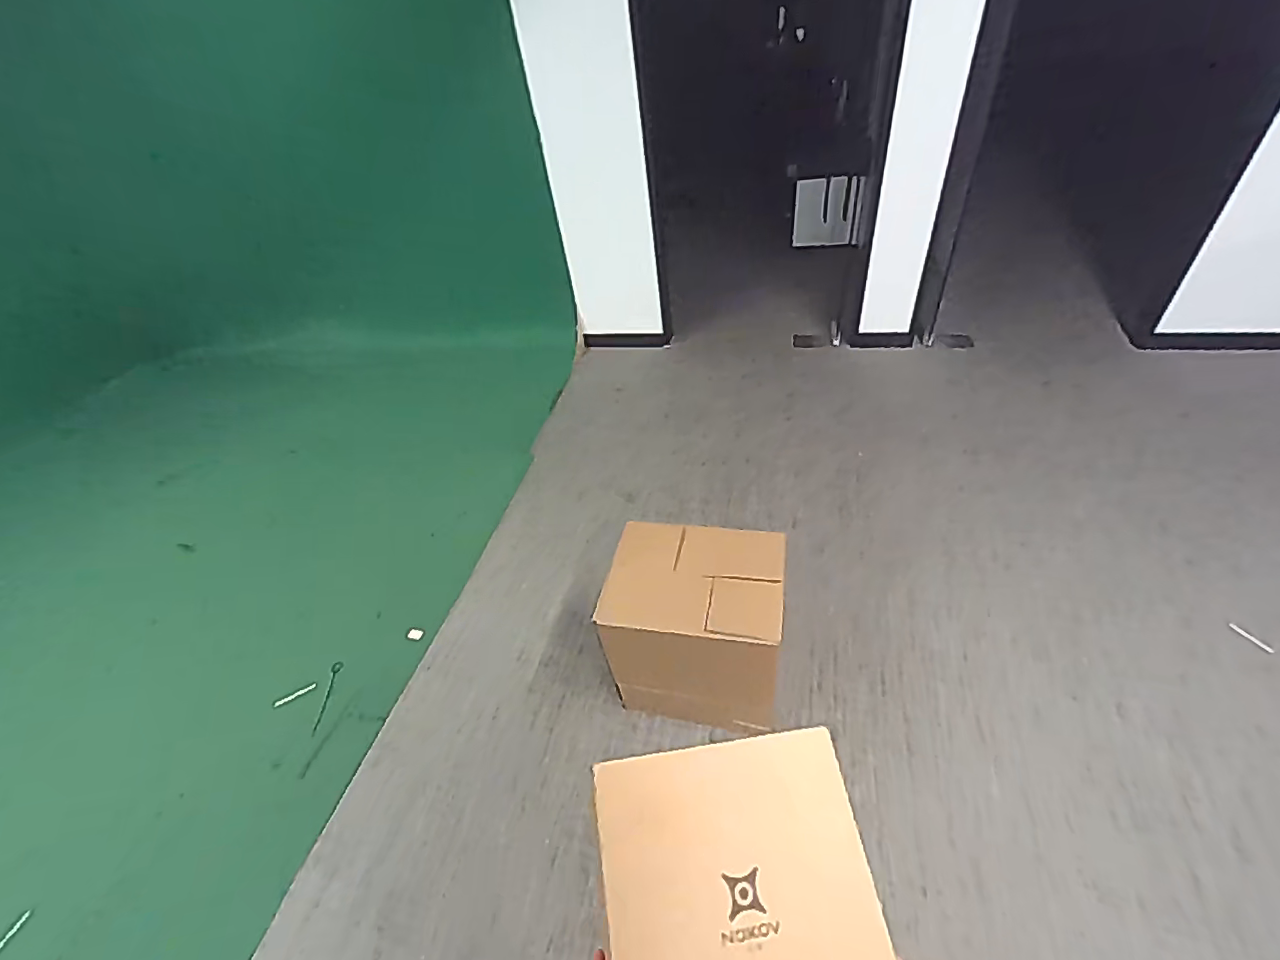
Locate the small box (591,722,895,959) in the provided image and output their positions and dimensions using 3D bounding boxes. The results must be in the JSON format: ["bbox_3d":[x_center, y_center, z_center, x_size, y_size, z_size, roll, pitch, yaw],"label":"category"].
[{"bbox_3d":[0.054,0.290,0.394,0.168,0.176,0.179,-4,61,-9],"label":"small box"}]
